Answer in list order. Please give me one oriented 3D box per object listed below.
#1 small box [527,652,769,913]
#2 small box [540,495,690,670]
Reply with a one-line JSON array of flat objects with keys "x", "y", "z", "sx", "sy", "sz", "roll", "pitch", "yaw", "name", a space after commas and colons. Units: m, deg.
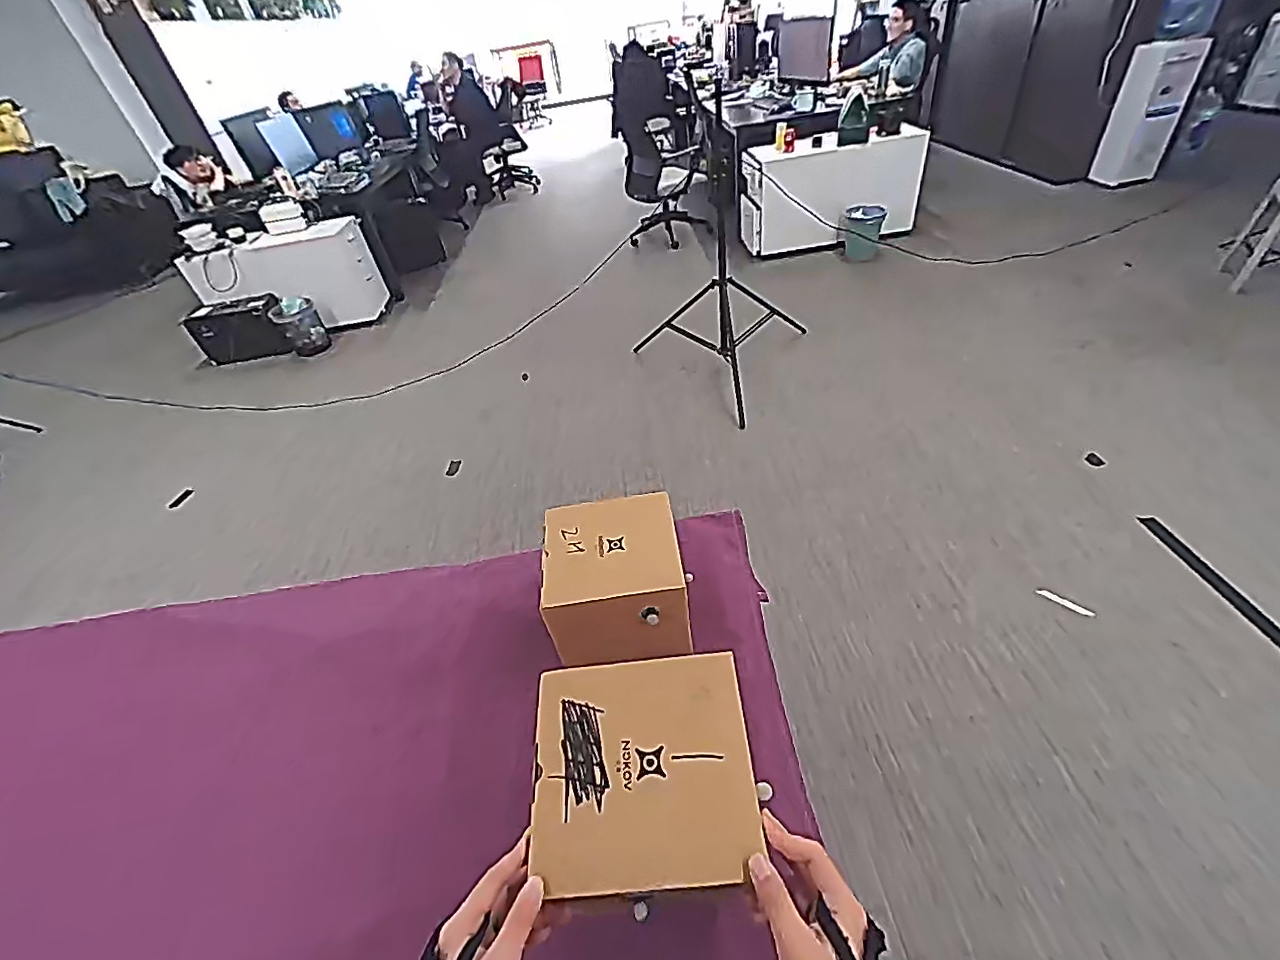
[{"x": 0.015, "y": 0.276, "z": 0.487, "sx": 0.179, "sy": 0.176, "sz": 0.168, "roll": -8, "pitch": 48, "yaw": 5, "name": "small box"}, {"x": -0.028, "y": 0.145, "z": 0.742, "sx": 0.179, "sy": 0.176, "sz": 0.168, "roll": -9, "pitch": 42, "yaw": 1, "name": "small box"}]
